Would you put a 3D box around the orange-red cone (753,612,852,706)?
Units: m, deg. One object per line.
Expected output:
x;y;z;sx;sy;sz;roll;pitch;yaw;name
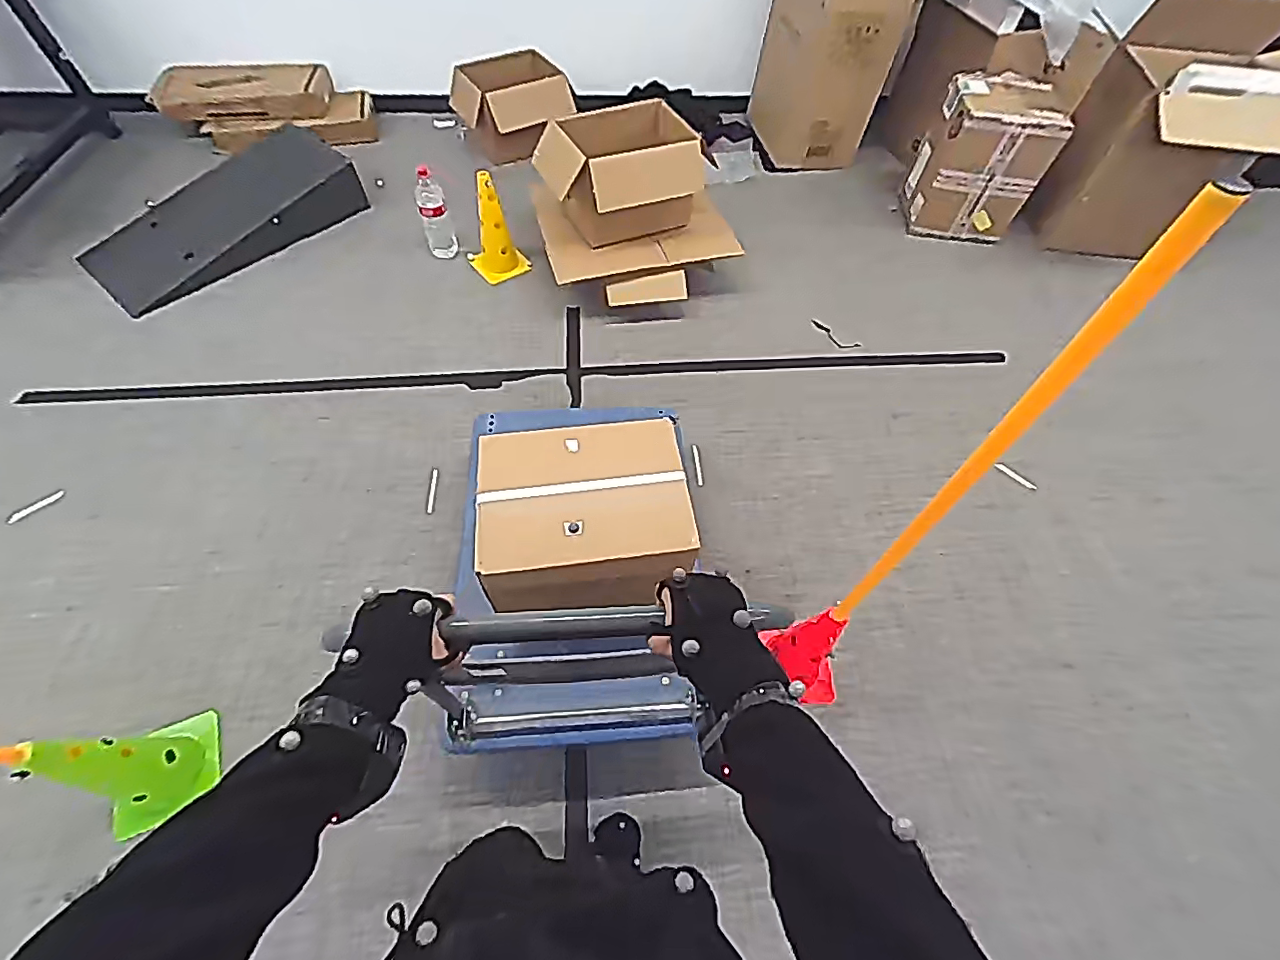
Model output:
0.395;0.369;1.214;0.199;0.360;0.198;3;58;-2;orange-red cone
